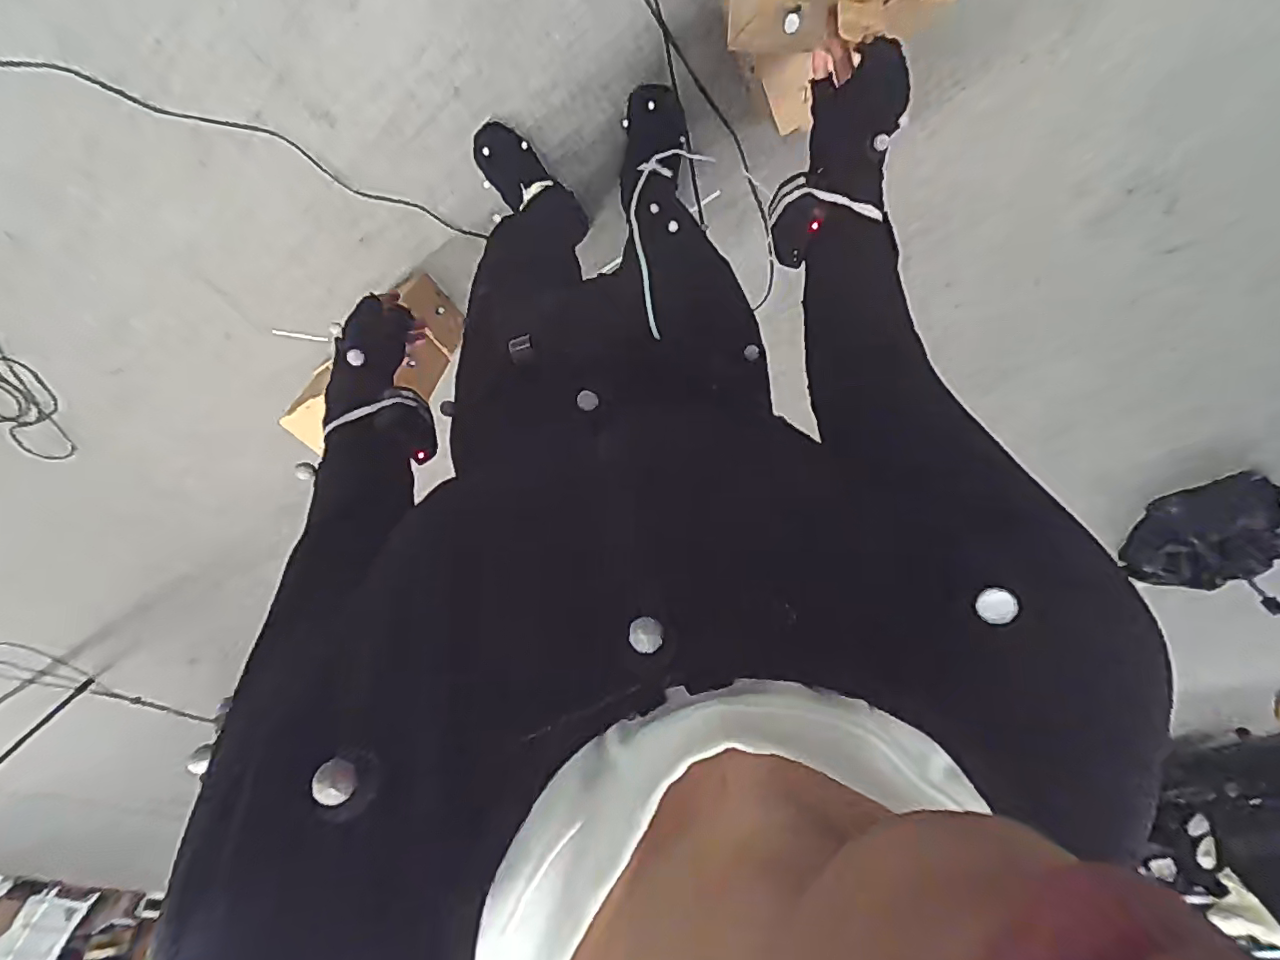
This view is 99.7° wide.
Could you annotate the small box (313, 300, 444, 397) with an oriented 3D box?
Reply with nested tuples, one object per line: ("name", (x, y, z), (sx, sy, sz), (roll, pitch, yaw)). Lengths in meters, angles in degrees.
("small box", (-0.572, -0.265, 1.210), (0.168, 0.176, 0.179), (-22, 128, 21))

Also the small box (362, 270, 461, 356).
("small box", (-0.564, -0.381, 1.328), (0.179, 0.176, 0.168), (-23, 128, 21))

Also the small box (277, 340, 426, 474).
("small box", (-0.570, -0.148, 1.097), (0.168, 0.176, 0.179), (-23, 128, 21))

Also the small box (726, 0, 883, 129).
("small box", (0.242, -0.678, 0.820), (0.168, 0.176, 0.179), (-22, 130, 20))

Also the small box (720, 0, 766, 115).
("small box", (0.248, -0.777, 0.930), (0.168, 0.176, 0.179), (-20, 130, 18))
